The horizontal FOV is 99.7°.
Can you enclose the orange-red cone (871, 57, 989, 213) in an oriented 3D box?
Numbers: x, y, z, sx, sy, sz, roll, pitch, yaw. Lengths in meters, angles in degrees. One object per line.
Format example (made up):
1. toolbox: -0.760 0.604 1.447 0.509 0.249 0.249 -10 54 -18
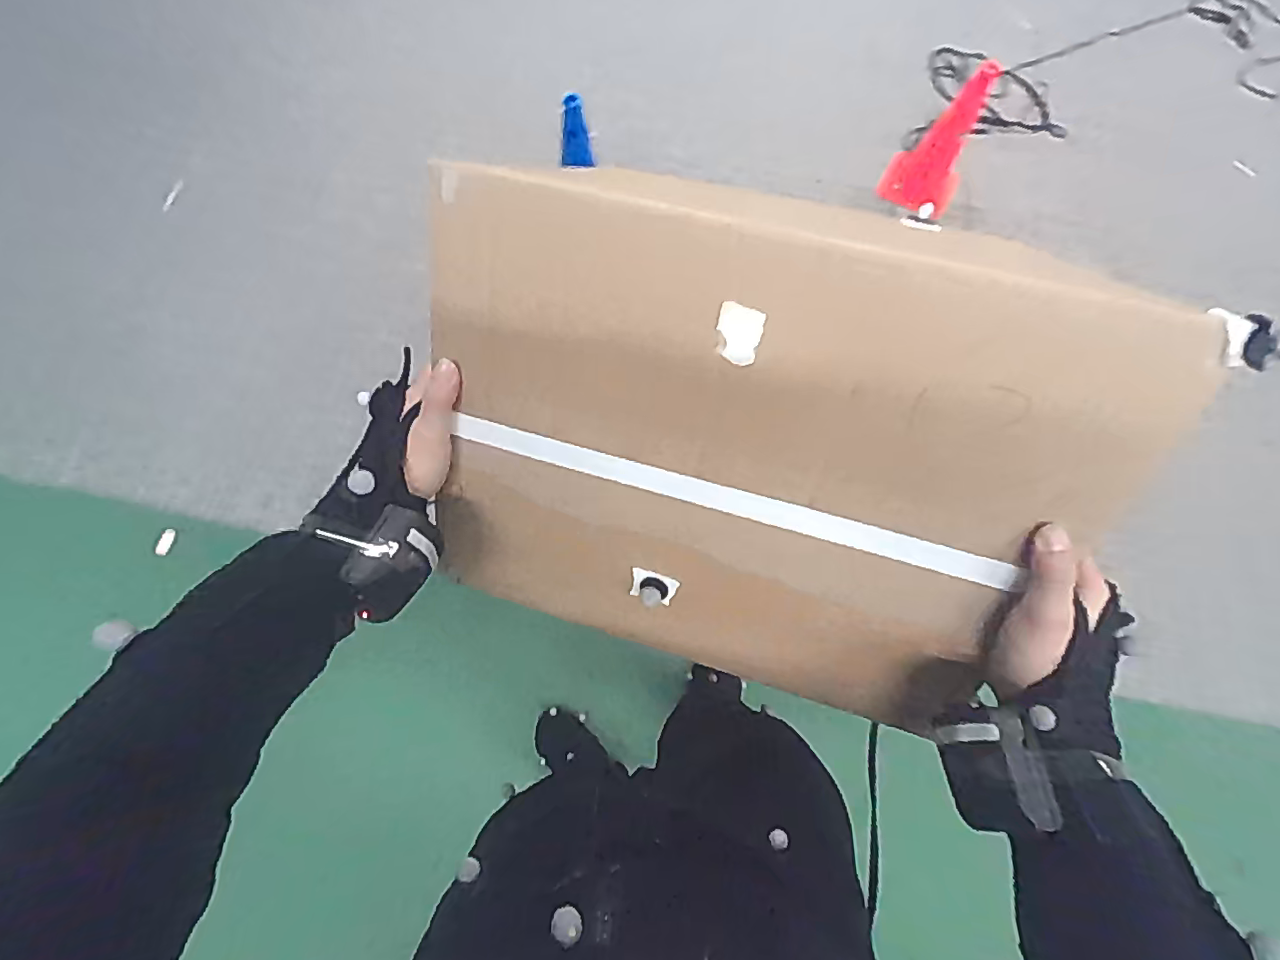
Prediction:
1. orange-red cone: 0.825 -0.958 1.473 0.199 0.360 0.198 30 75 7
